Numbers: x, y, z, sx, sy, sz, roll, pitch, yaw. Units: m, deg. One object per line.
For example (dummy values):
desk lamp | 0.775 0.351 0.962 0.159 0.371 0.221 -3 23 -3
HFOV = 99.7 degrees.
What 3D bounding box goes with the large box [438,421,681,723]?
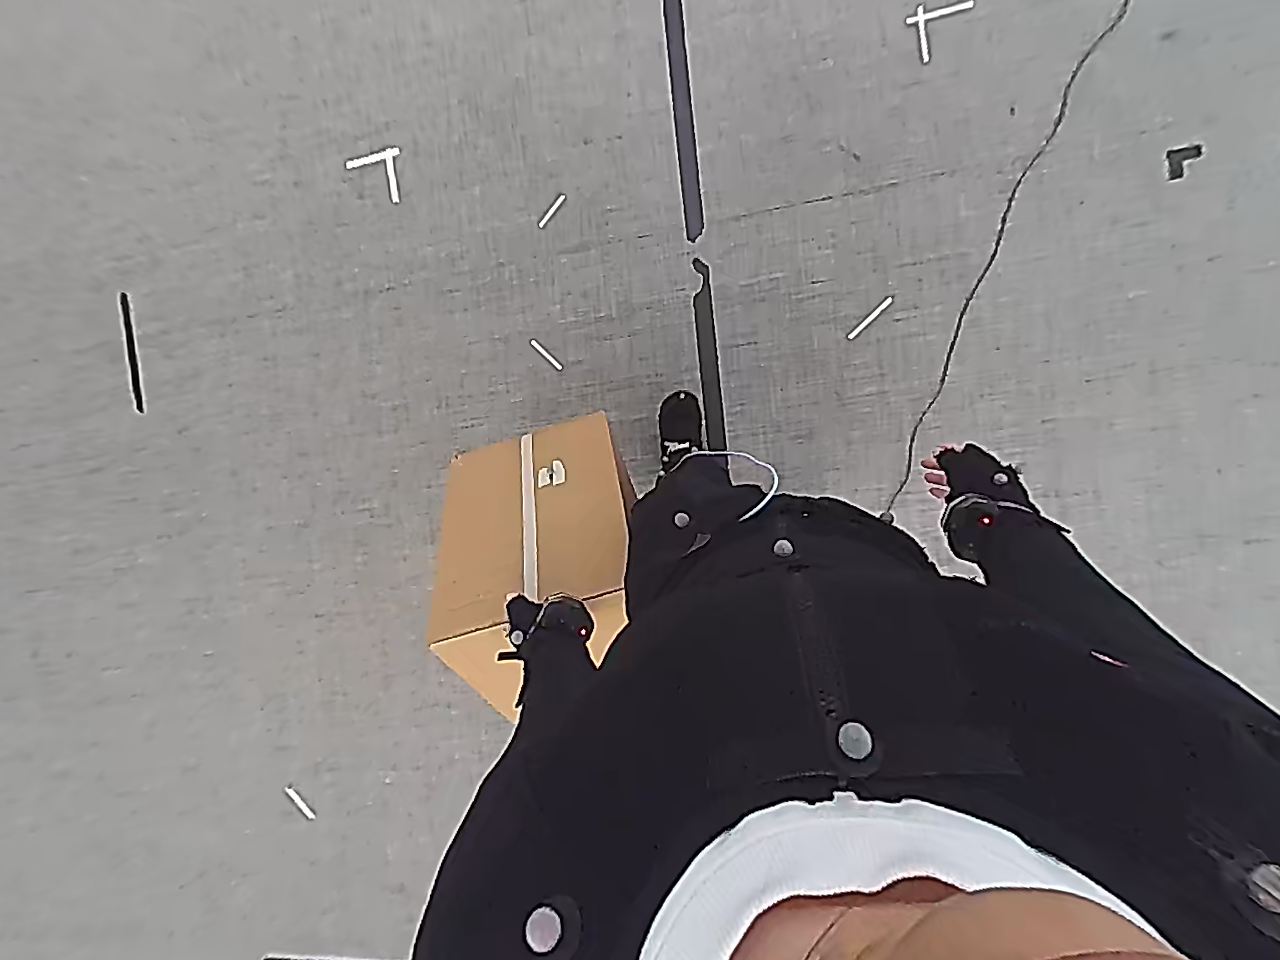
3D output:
large box | -0.140 0.162 1.002 0.320 0.408 0.320 -16 133 2
